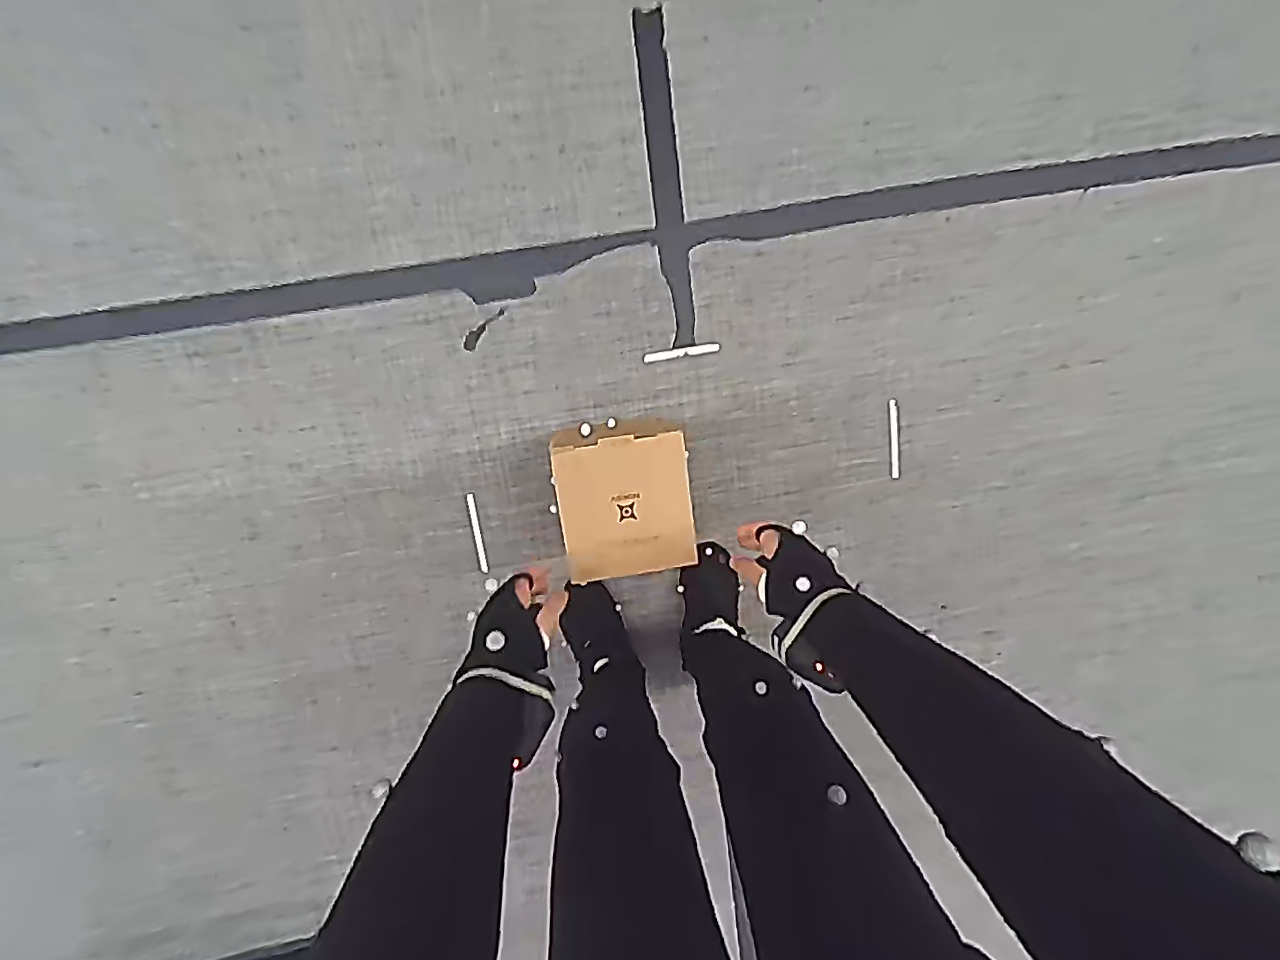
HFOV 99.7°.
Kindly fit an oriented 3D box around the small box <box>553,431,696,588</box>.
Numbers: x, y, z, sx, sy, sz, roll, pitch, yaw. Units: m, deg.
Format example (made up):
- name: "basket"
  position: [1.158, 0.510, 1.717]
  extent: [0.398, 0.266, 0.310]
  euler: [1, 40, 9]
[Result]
- name: "small box"
  position: [-0.025, 0.029, 0.758]
  extent: [0.168, 0.176, 0.179]
  euler: [-9, 102, -3]
